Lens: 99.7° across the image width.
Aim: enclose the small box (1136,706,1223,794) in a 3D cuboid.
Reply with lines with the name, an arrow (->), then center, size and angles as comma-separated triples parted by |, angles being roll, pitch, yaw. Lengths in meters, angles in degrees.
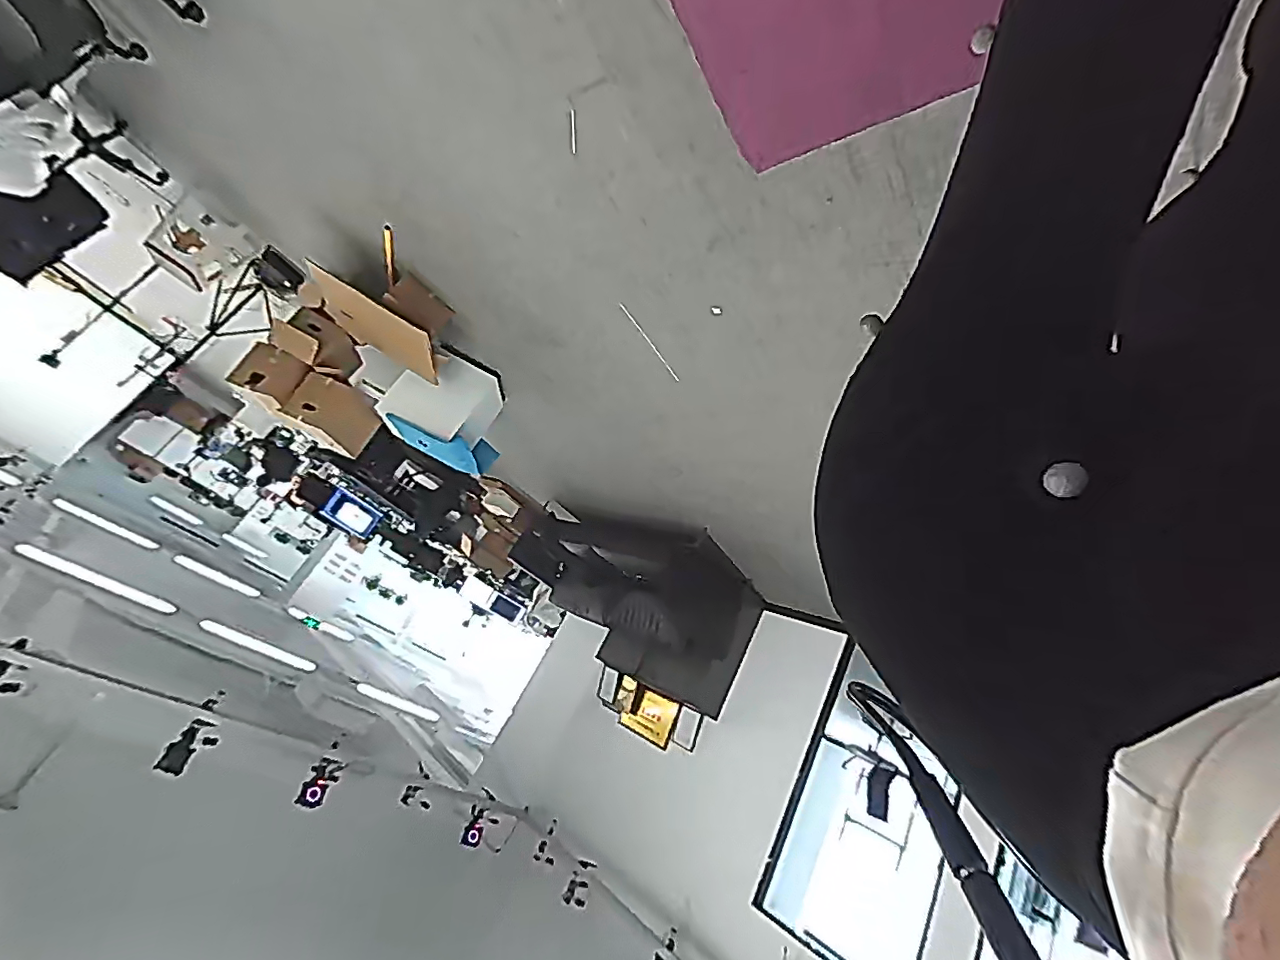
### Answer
small box -> 1.653, 0.824, 1.657 | 0.168, 0.176, 0.179 | 10, 151, 42
